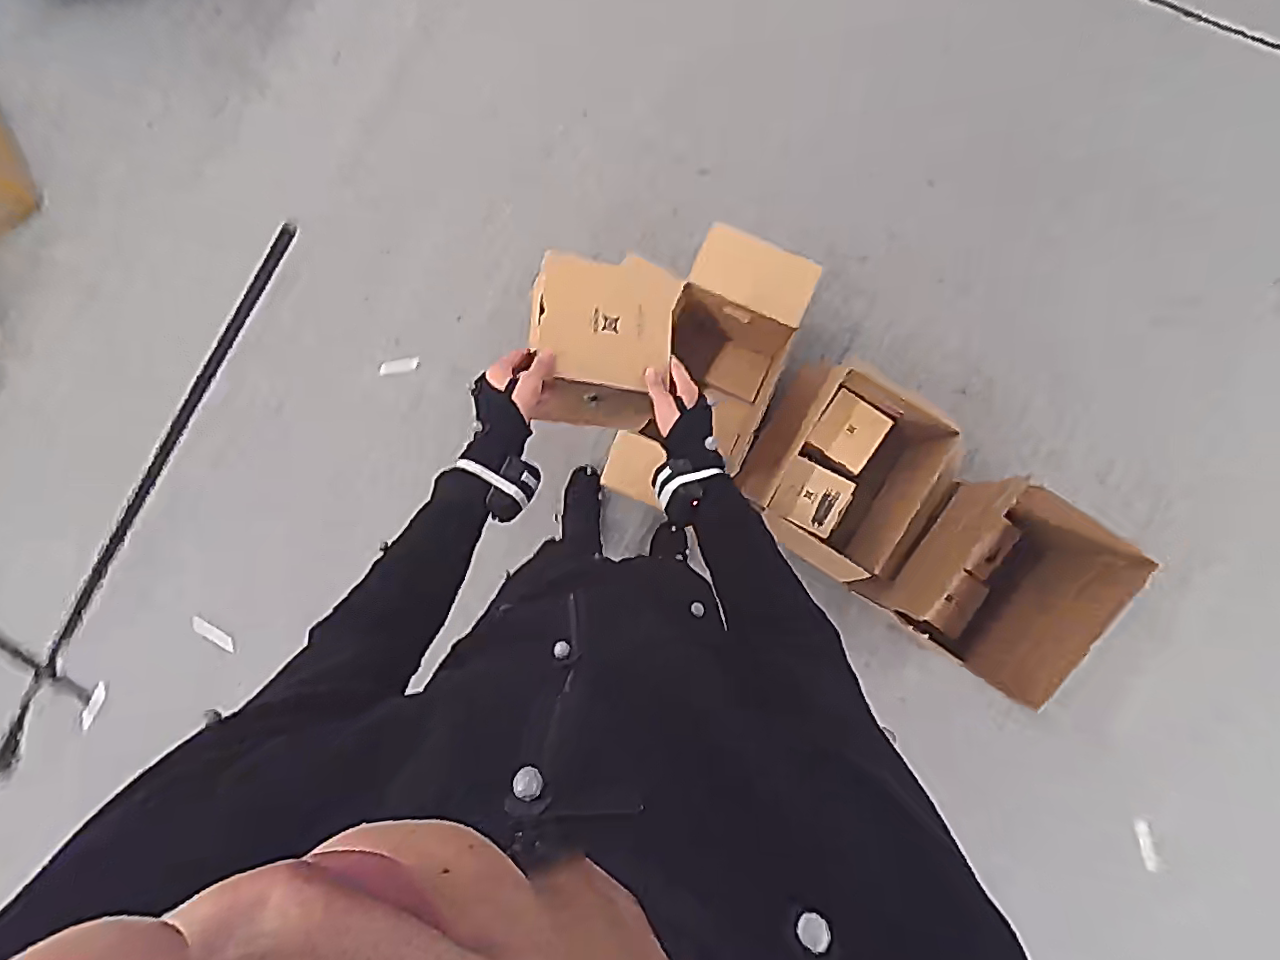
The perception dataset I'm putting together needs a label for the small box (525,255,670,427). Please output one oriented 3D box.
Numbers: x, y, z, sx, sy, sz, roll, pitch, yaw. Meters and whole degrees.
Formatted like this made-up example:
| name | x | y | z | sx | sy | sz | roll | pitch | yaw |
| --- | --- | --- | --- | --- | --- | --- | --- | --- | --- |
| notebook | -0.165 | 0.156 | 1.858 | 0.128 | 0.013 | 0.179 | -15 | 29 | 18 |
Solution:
| name | x | y | z | sx | sy | sz | roll | pitch | yaw |
| --- | --- | --- | --- | --- | --- | --- | --- | --- | --- |
| small box | -0.066 | -0.180 | 0.756 | 0.179 | 0.176 | 0.168 | 5 | 77 | -14 |
